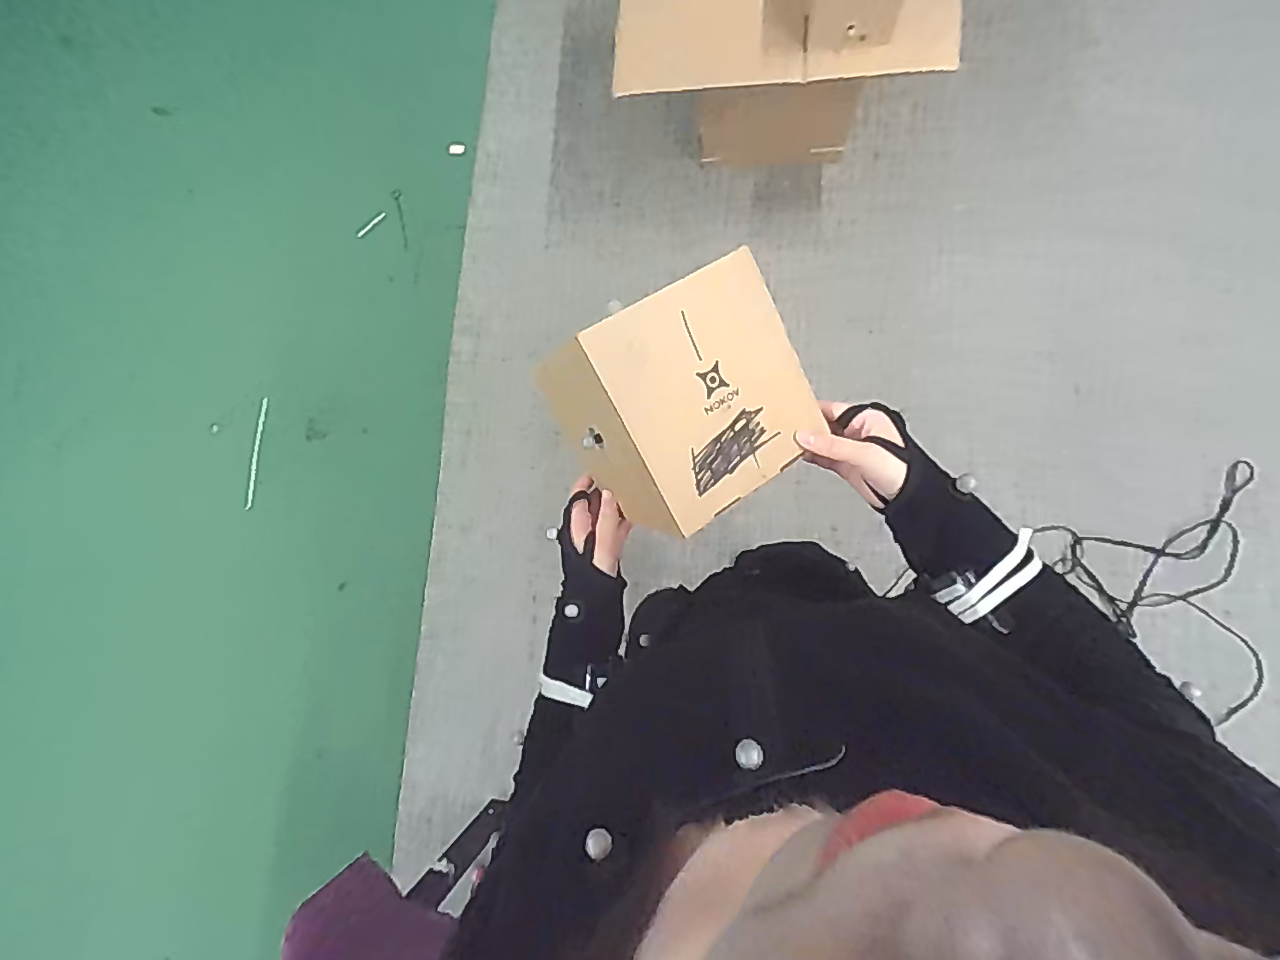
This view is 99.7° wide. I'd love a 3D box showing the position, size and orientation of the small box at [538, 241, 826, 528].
[{"bbox_3d":[0.028,-0.080,0.495,0.168,0.176,0.179,-32,103,-17],"label":"small box"}]
